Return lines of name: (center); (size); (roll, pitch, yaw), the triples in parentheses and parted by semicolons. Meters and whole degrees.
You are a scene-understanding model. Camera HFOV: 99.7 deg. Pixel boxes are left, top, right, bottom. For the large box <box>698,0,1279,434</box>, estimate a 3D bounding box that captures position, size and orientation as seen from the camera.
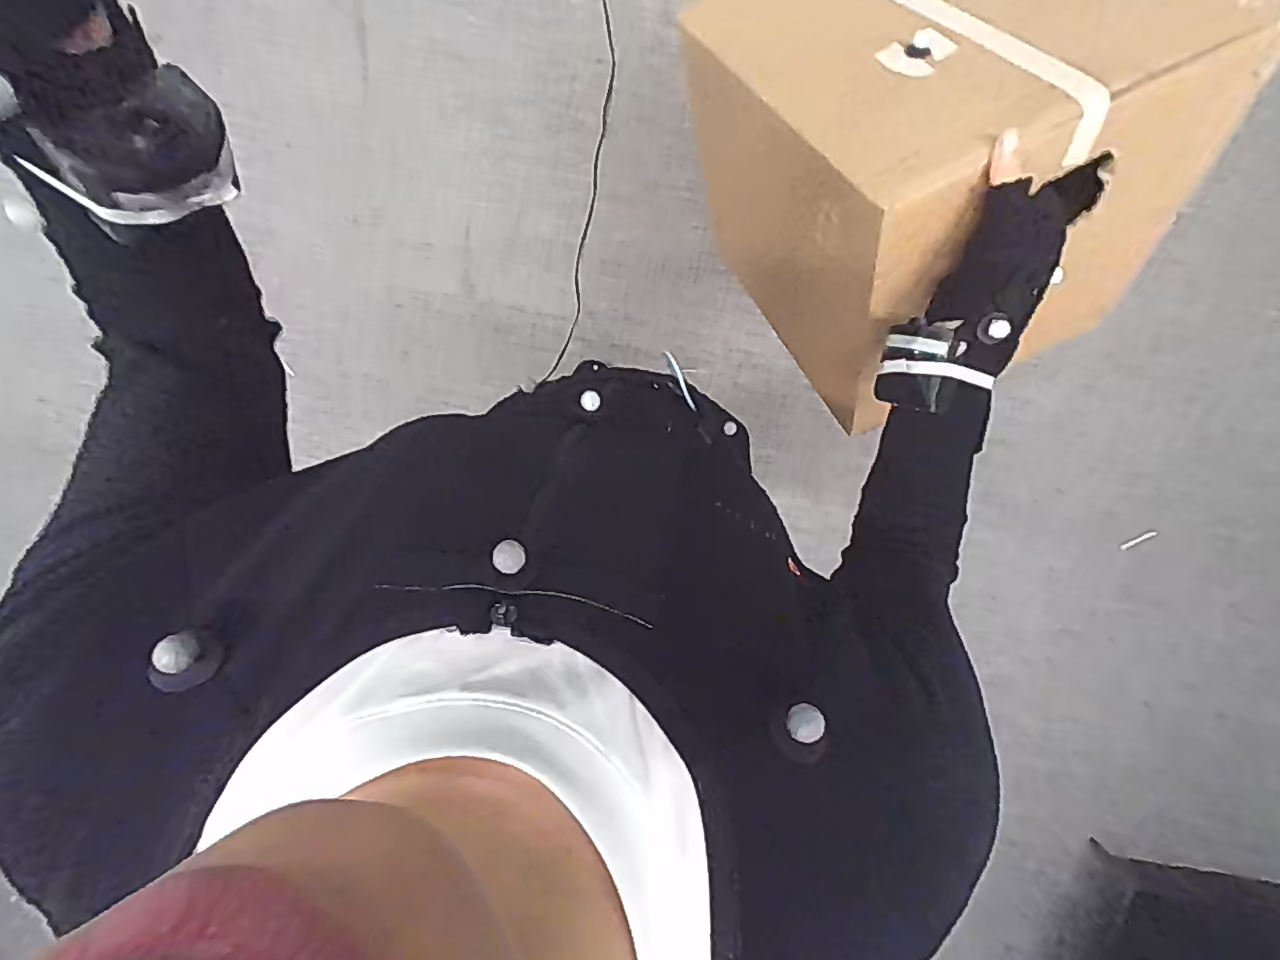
large box: (0.299, -0.333, 0.613); (0.320, 0.320, 0.408); (-24, 59, 3)
